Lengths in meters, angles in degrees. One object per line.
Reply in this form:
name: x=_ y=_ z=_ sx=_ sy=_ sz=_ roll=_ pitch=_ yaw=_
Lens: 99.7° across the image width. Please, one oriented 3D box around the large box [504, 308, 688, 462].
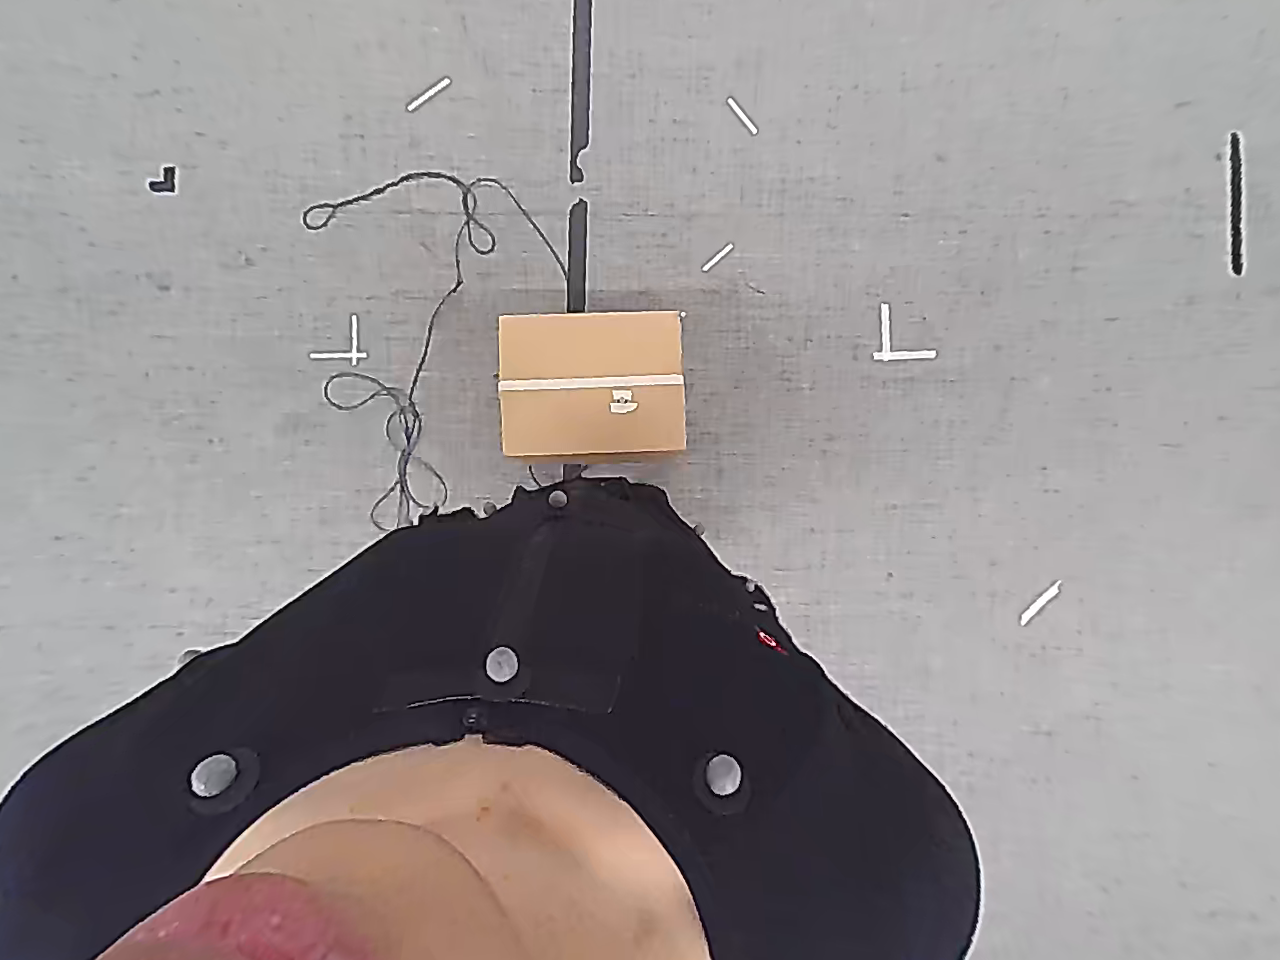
large box: x=-0.105 y=-0.217 z=1.349 sx=0.408 sy=0.320 sz=0.320 roll=-2 pitch=88 yaw=-2
